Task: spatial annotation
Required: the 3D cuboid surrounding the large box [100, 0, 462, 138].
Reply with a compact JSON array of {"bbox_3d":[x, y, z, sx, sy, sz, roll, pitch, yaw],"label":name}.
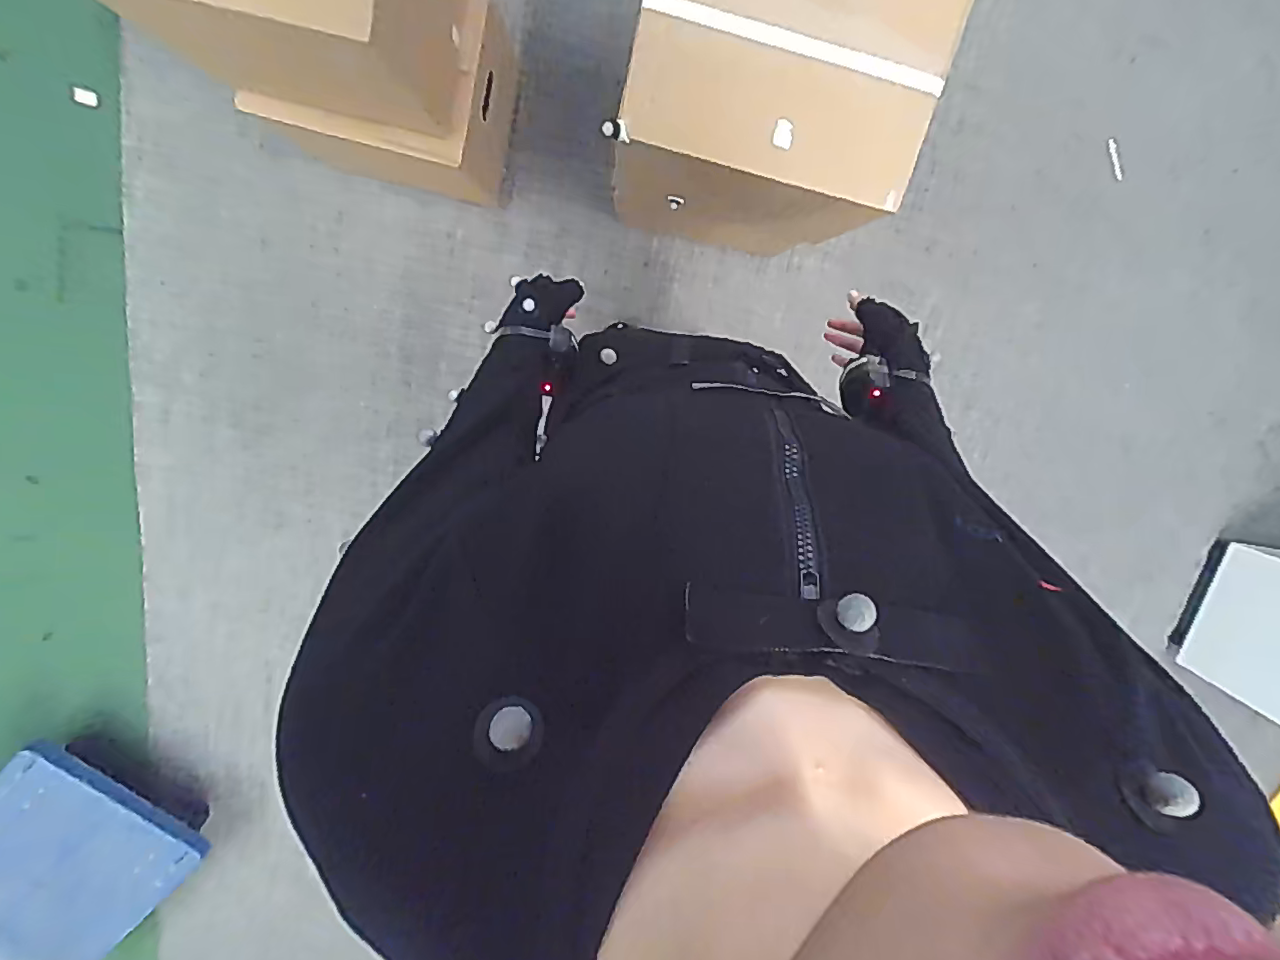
[{"bbox_3d":[-0.508,-0.766,0.787,0.408,0.320,0.320,11,102,-5],"label":"large box"}]
